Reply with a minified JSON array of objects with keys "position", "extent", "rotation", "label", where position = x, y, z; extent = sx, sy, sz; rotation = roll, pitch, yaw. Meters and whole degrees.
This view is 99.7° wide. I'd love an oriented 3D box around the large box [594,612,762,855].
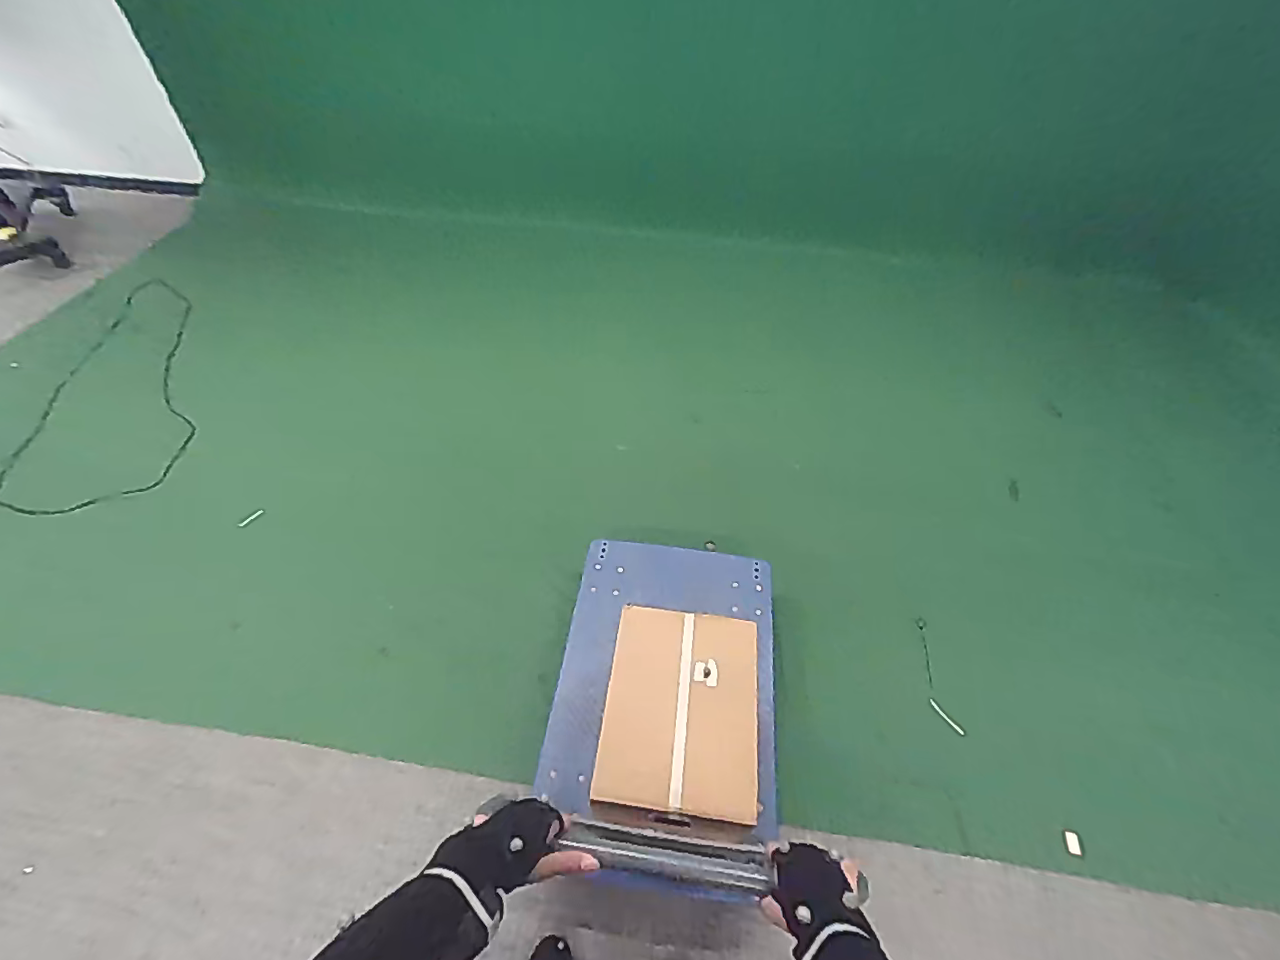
[{"position":[0.087,0.565,1.213],"extent":[0.320,0.320,0.408],"rotation":[8,48,4],"label":"large box"}]
